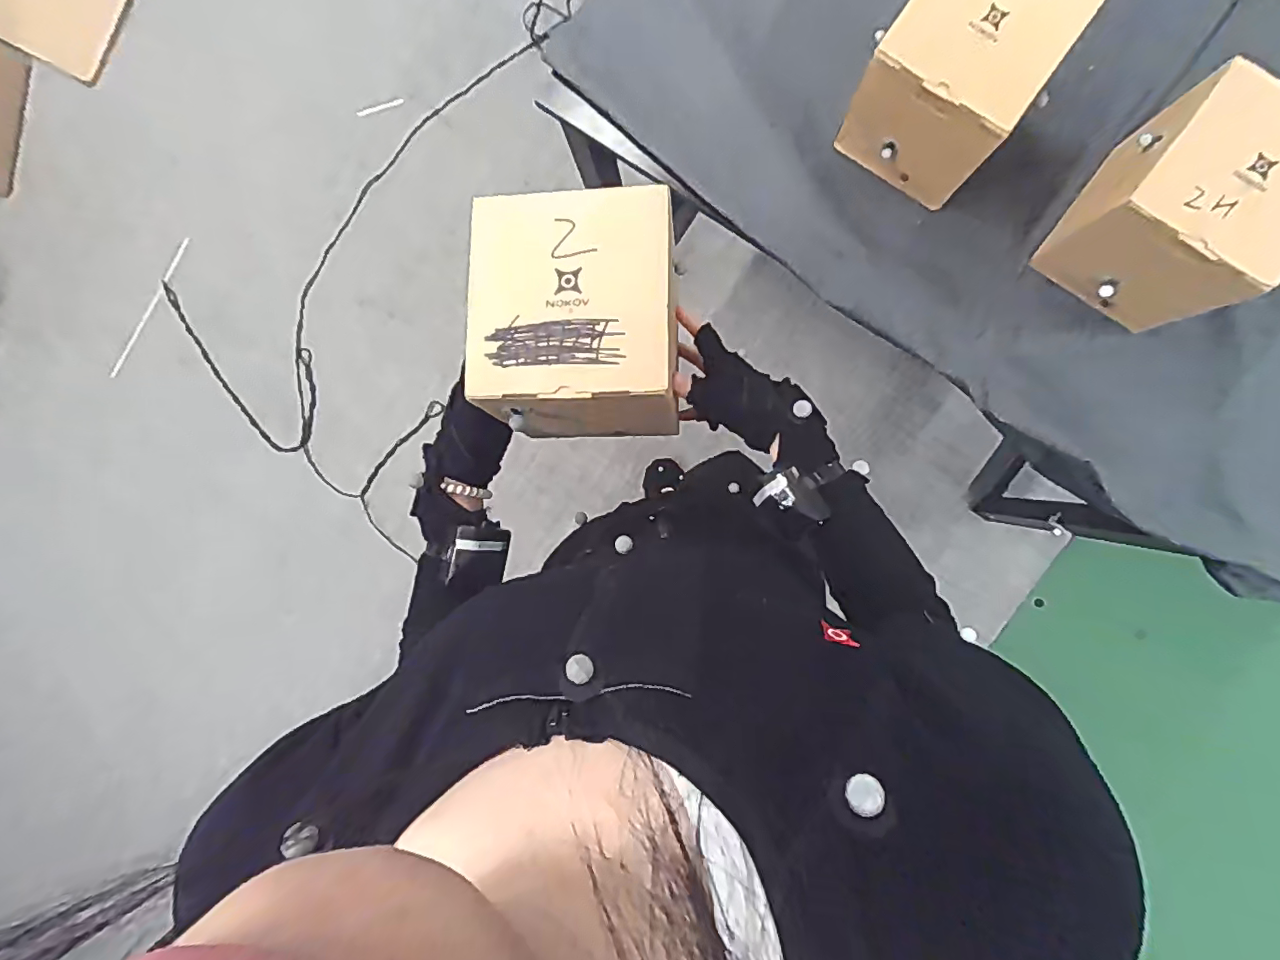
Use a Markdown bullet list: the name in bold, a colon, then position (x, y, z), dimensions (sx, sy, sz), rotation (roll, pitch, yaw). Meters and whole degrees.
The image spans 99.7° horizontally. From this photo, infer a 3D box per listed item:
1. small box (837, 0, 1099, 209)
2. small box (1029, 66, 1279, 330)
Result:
- **small box**: position (0.366, -0.472, 0.645), dimensions (0.168, 0.176, 0.179), rotation (35, 94, 2)
- **small box**: position (0.612, -0.306, 0.628), dimensions (0.168, 0.176, 0.179), rotation (35, 93, 3)
